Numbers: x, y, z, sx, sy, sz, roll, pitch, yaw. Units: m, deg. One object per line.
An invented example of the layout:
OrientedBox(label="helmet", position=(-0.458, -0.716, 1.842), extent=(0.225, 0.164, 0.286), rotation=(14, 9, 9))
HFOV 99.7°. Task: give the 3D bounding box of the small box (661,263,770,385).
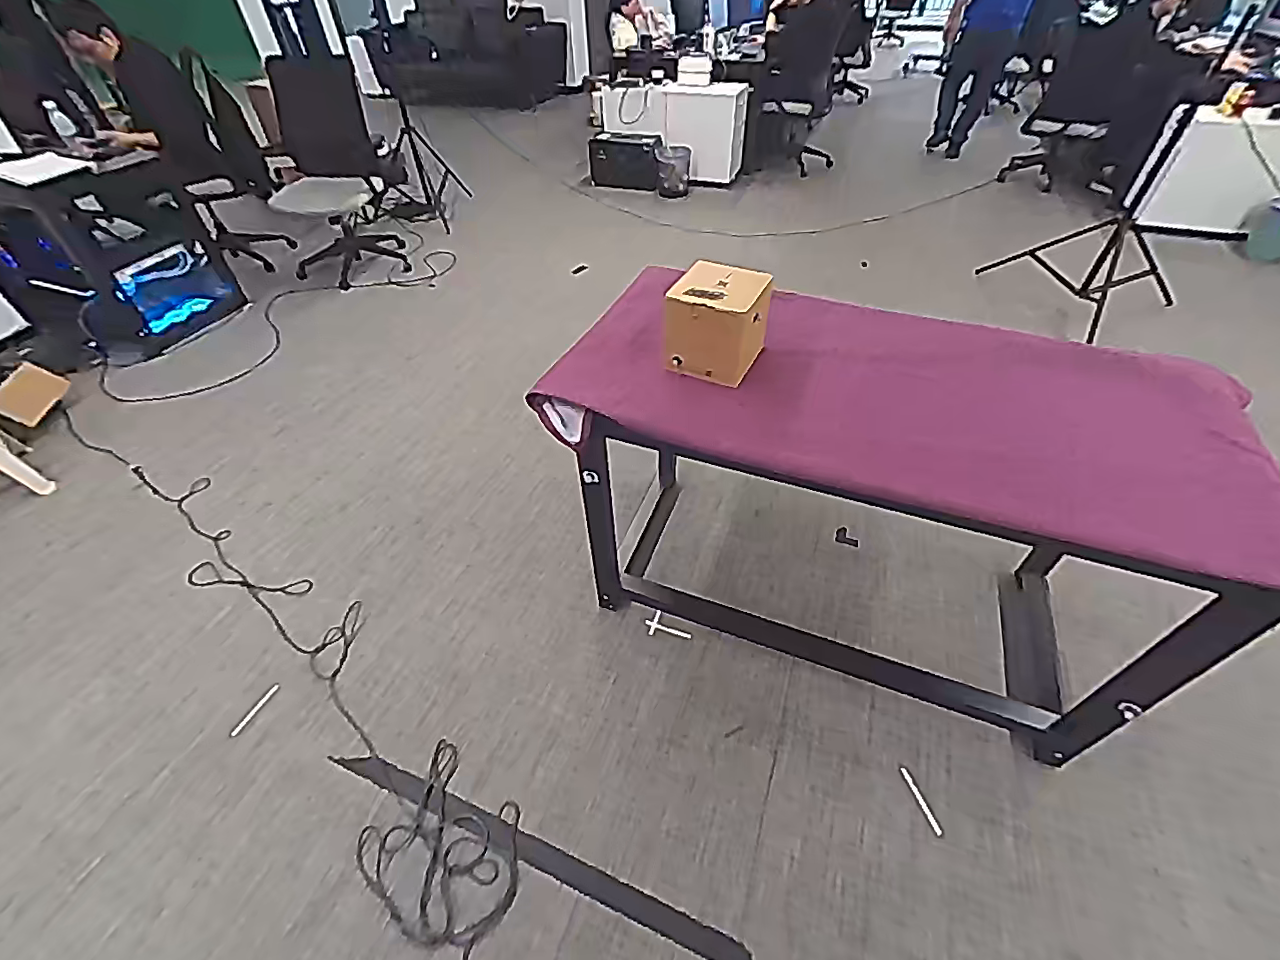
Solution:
OrientedBox(label="small box", position=(0.155, -0.321, 1.118), extent=(0.168, 0.176, 0.179), rotation=(20, 49, 19))
